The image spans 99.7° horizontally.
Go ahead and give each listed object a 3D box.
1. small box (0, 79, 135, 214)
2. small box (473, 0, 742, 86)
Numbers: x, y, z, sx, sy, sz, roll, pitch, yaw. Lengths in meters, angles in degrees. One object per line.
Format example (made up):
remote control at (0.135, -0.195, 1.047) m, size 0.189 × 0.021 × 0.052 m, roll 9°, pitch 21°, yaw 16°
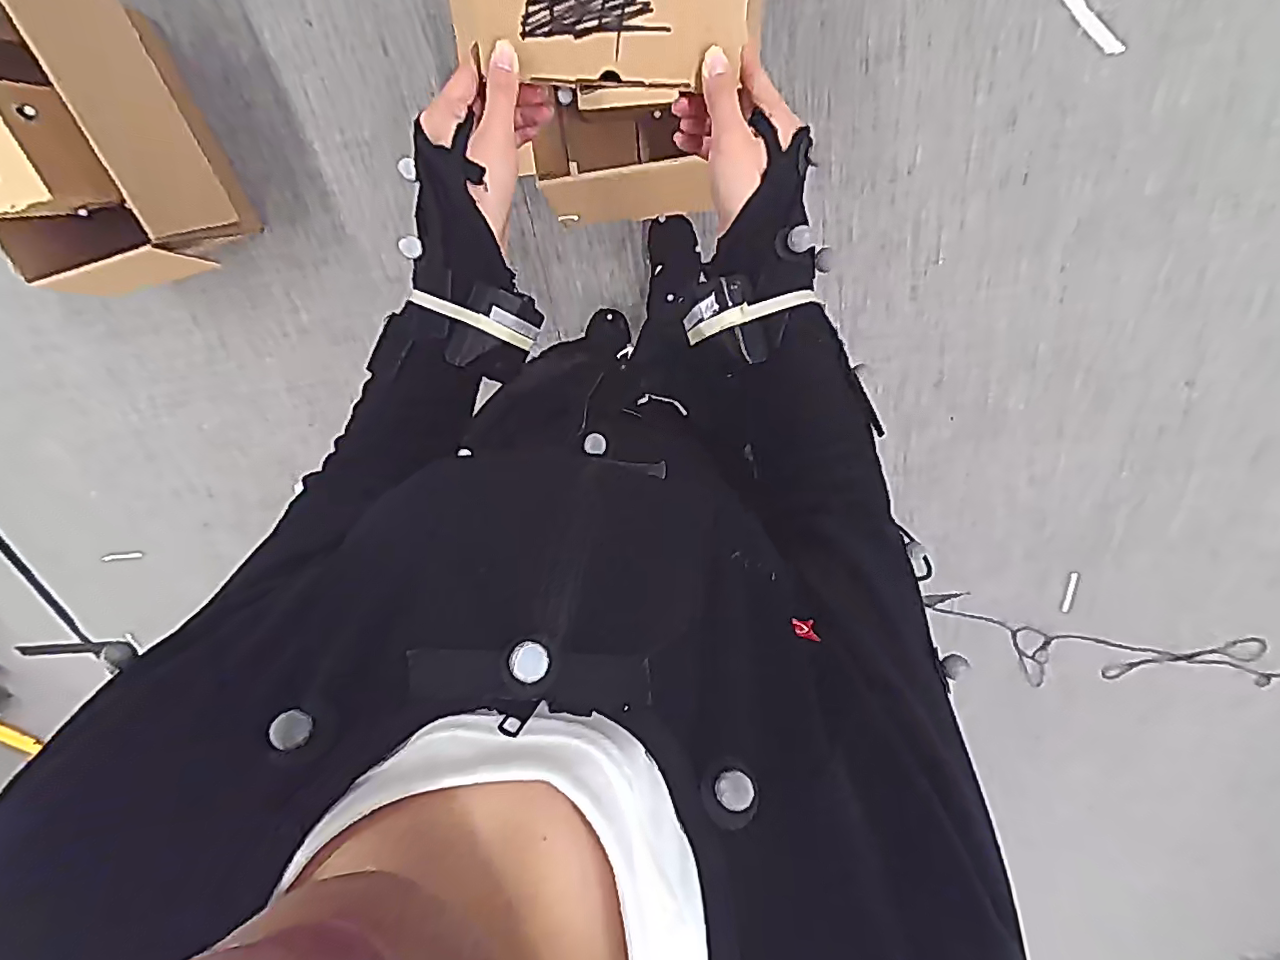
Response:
small box at (-1.086, -0.585, 0.964) m, size 0.168 × 0.176 × 0.179 m, roll -7°, pitch 118°, yaw 10°
small box at (-0.013, -0.372, 0.358) m, size 0.168 × 0.176 × 0.179 m, roll 3°, pitch 125°, yaw 1°
